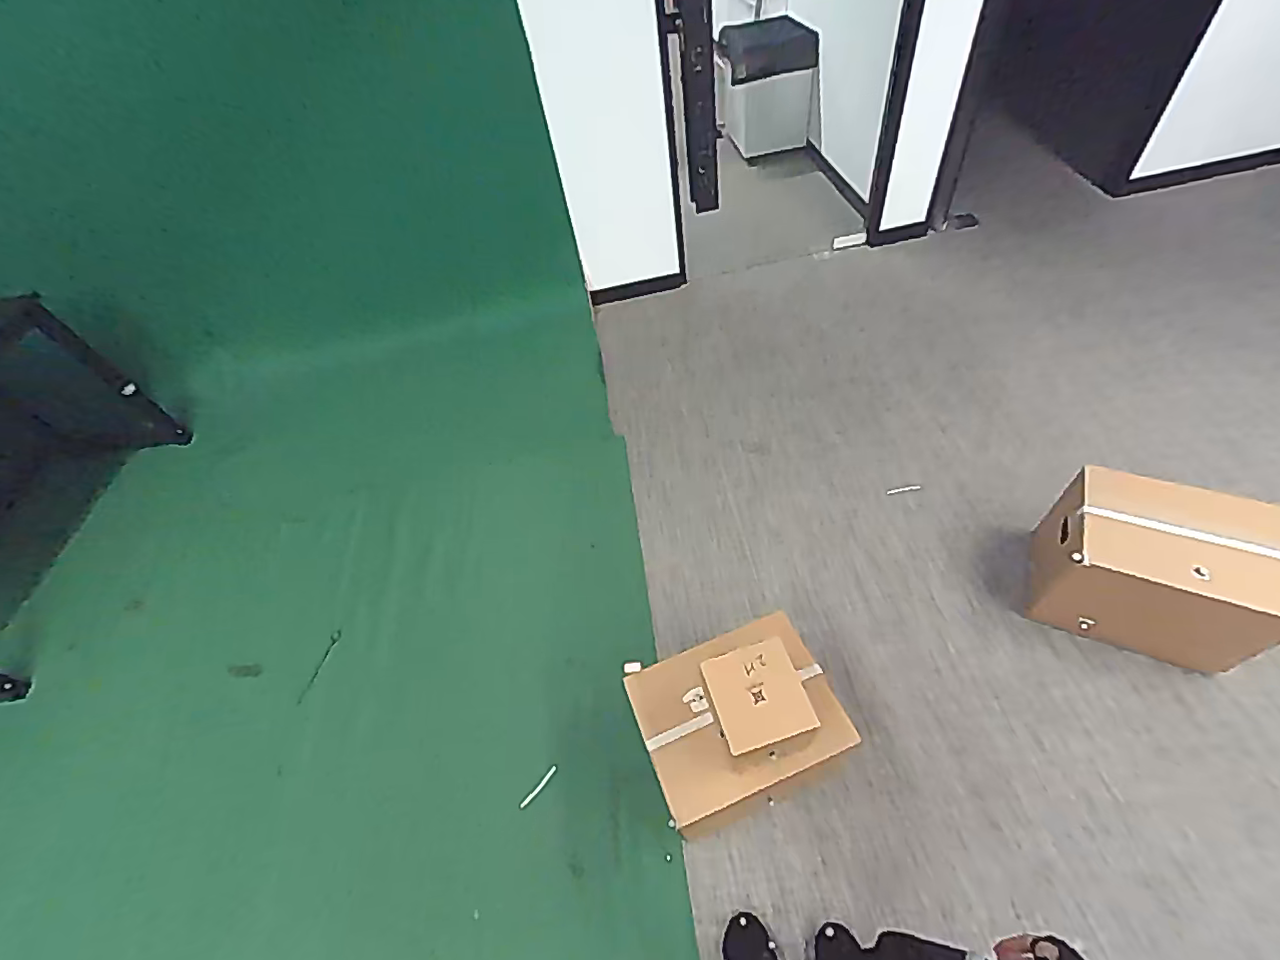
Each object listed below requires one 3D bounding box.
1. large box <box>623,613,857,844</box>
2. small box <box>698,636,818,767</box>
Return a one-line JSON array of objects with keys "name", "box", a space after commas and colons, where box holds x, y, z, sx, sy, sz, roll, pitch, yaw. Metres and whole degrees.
[{"name": "large box", "box": [0.218, 0.575, 1.248, 0.408, 0.320, 0.320, -22, 50, -7]}, {"name": "small box", "box": [0.220, 0.434, 1.041, 0.168, 0.176, 0.179, -16, 51, -5]}]
